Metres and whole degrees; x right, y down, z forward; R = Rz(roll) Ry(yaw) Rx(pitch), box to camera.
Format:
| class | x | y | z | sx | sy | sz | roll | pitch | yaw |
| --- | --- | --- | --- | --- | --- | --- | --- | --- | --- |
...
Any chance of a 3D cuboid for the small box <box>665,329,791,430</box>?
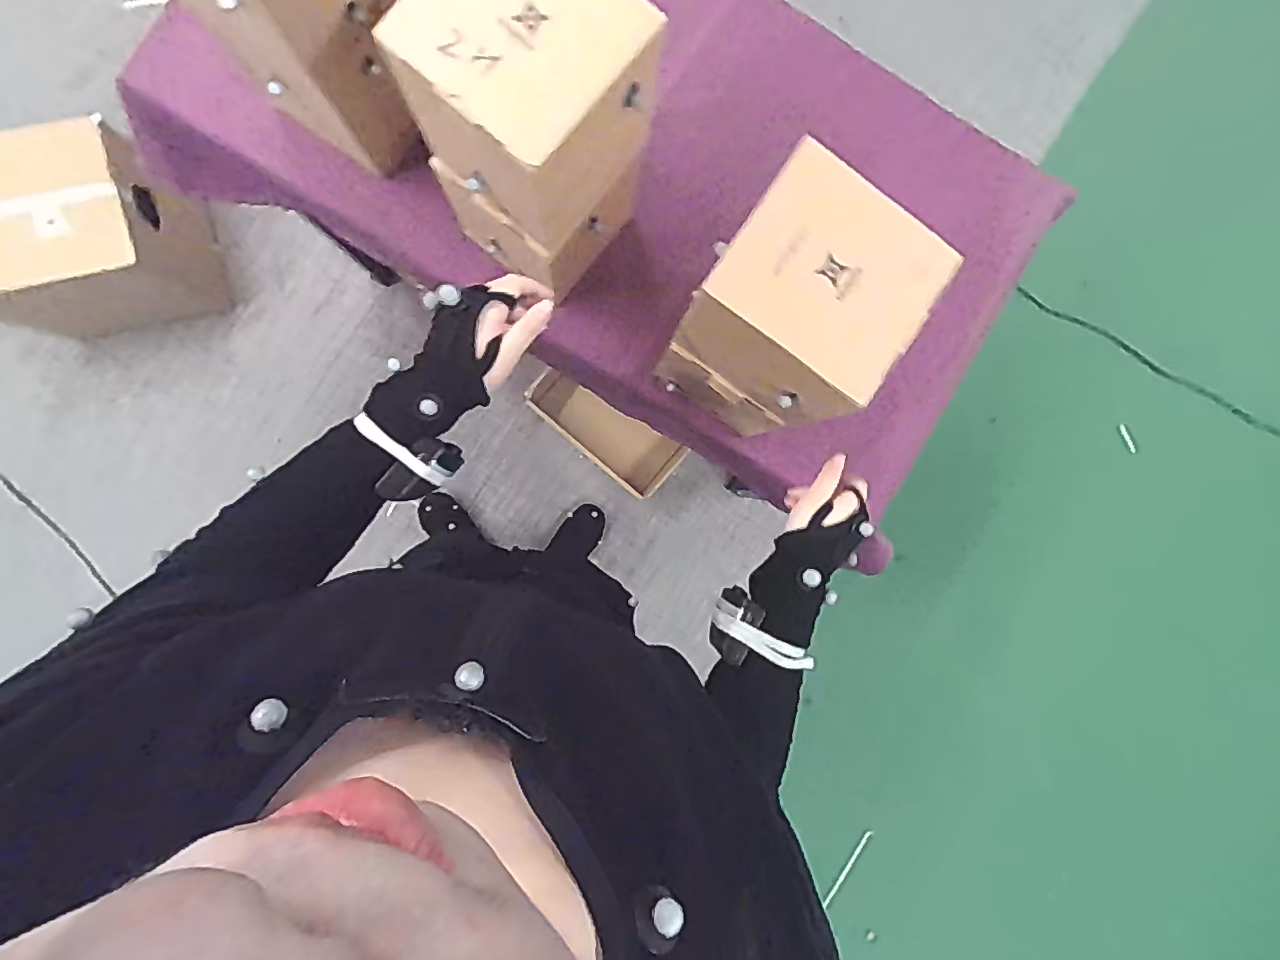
| class | x | y | z | sx | sy | sz | roll | pitch | yaw |
| --- | --- | --- | --- | --- | --- | --- | --- | --- | --- |
| small box | 0.146 | -0.180 | 0.707 | 0.168 | 0.176 | 0.179 | 35 | 88 | -4 |

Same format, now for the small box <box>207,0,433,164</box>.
| class | x | y | z | sx | sy | sz | roll | pitch | yaw |
| --- | --- | --- | --- | --- | --- | --- | --- | --- | --- |
| small box | -0.359 | -0.534 | 0.656 | 0.179 | 0.176 | 0.168 | 35 | 89 | -4 |

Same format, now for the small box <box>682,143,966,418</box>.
| class | x | y | z | sx | sy | sz | roll | pitch | yaw |
| --- | --- | --- | --- | --- | --- | --- | --- | --- | --- |
| small box | 0.165 | -0.176 | 0.544 | 0.179 | 0.176 | 0.168 | 36 | 87 | -4 |

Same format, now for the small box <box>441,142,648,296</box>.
| class | x | y | z | sx | sy | sz | roll | pitch | yaw |
| --- | --- | --- | --- | --- | --- | --- | --- | --- | --- |
| small box | -0.113 | -0.369 | 0.683 | 0.168 | 0.176 | 0.179 | 40 | 88 | -4 |

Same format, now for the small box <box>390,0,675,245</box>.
| class | x | y | z | sx | sy | sz | roll | pitch | yaw |
| --- | --- | --- | --- | --- | --- | --- | --- | --- | --- |
| small box | -0.093 | -0.371 | 0.520 | 0.168 | 0.176 | 0.179 | 41 | 88 | -4 |
